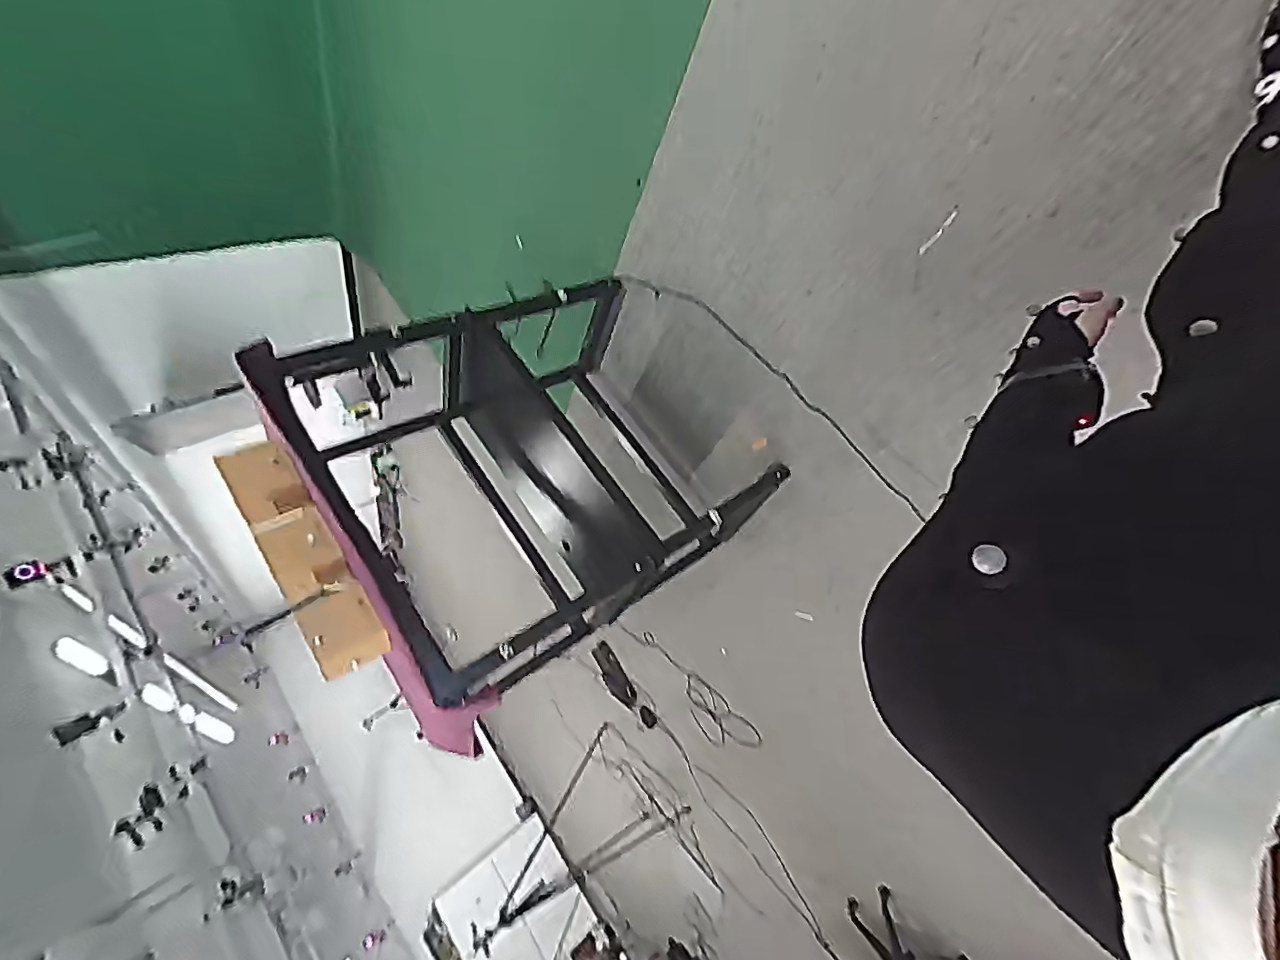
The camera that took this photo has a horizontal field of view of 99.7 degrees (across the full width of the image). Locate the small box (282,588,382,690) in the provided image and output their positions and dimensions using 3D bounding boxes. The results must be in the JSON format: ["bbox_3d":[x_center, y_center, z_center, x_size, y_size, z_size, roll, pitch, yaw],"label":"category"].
[{"bbox_3d":[-0.792,0.414,1.410,0.168,0.176,0.179,51,146,16],"label":"small box"}]

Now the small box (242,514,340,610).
[{"bbox_3d":[-0.943,0.223,1.480,0.168,0.176,0.179,52,144,15],"label":"small box"}]
